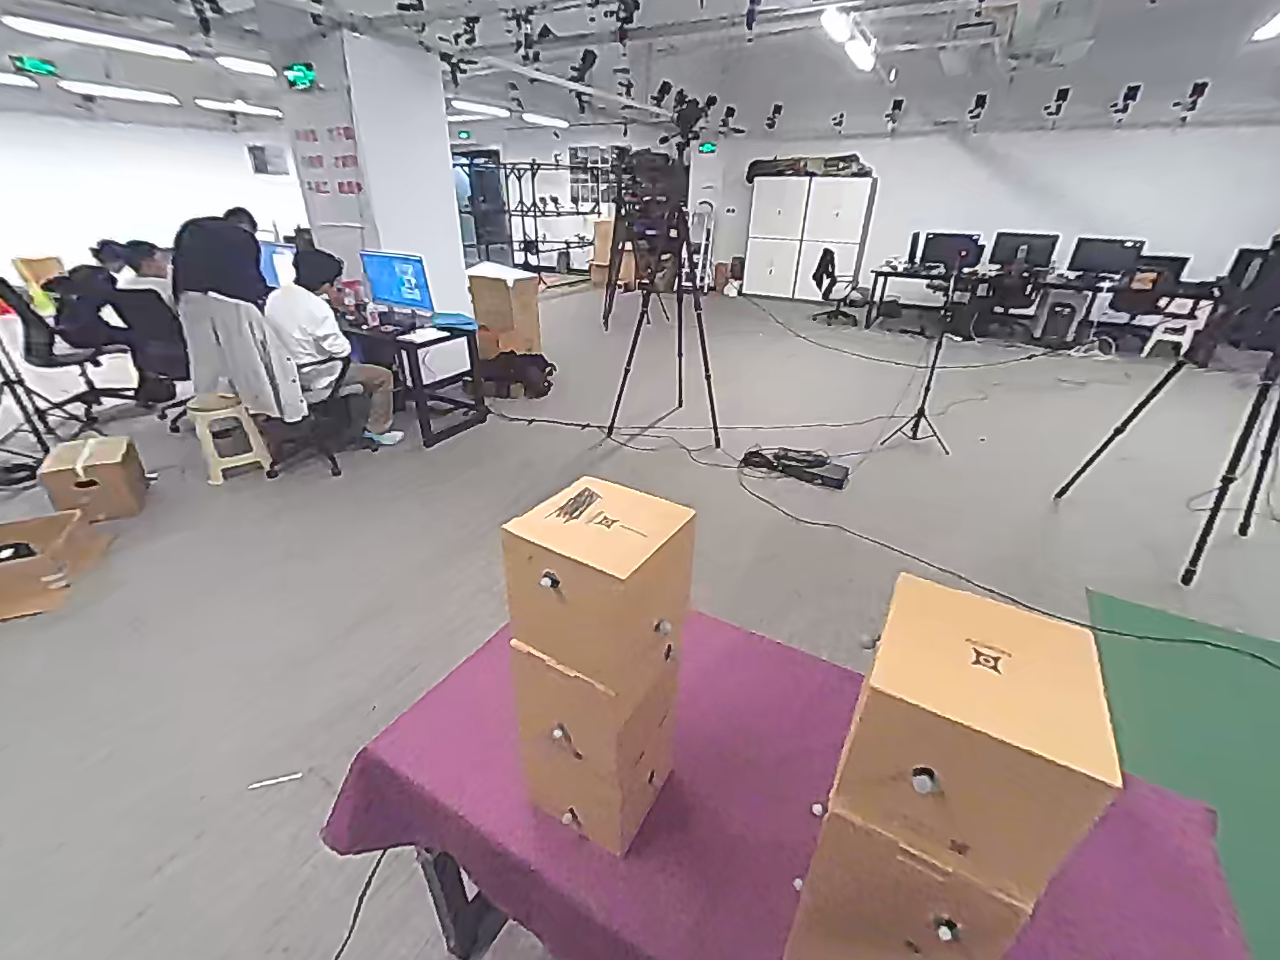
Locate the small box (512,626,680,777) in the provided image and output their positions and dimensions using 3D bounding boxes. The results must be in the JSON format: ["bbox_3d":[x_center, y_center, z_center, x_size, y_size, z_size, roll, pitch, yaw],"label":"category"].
[{"bbox_3d":[-0.058,0.266,0.761,0.168,0.176,0.179,16,31,26],"label":"small box"}]

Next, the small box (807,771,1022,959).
[{"bbox_3d":[0.290,0.369,0.584,0.168,0.176,0.179,17,32,26],"label":"small box"}]

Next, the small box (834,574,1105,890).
[{"bbox_3d":[0.293,0.225,0.508,0.168,0.176,0.179,17,32,26],"label":"small box"}]

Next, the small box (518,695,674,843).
[{"bbox_3d":[-0.064,0.414,0.834,0.179,0.176,0.168,16,31,24],"label":"small box"}]

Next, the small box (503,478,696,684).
[{"bbox_3d":[-0.049,0.121,0.683,0.179,0.176,0.168,18,32,27],"label":"small box"}]
